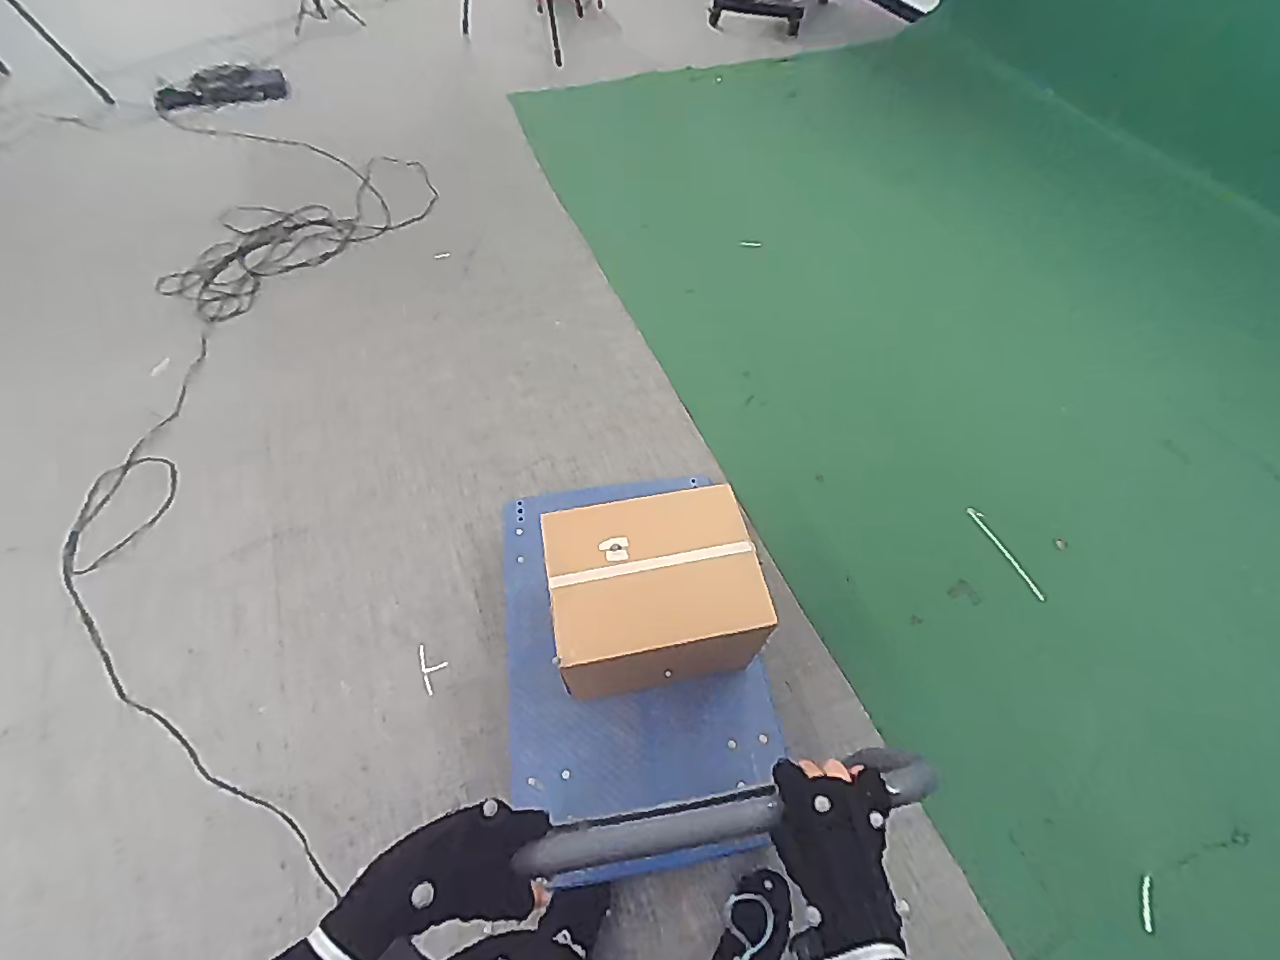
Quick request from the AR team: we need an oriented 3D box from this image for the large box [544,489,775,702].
[{"bbox_3d":[0.030,0.260,1.184,0.408,0.320,0.320,-11,58,-7],"label":"large box"}]
